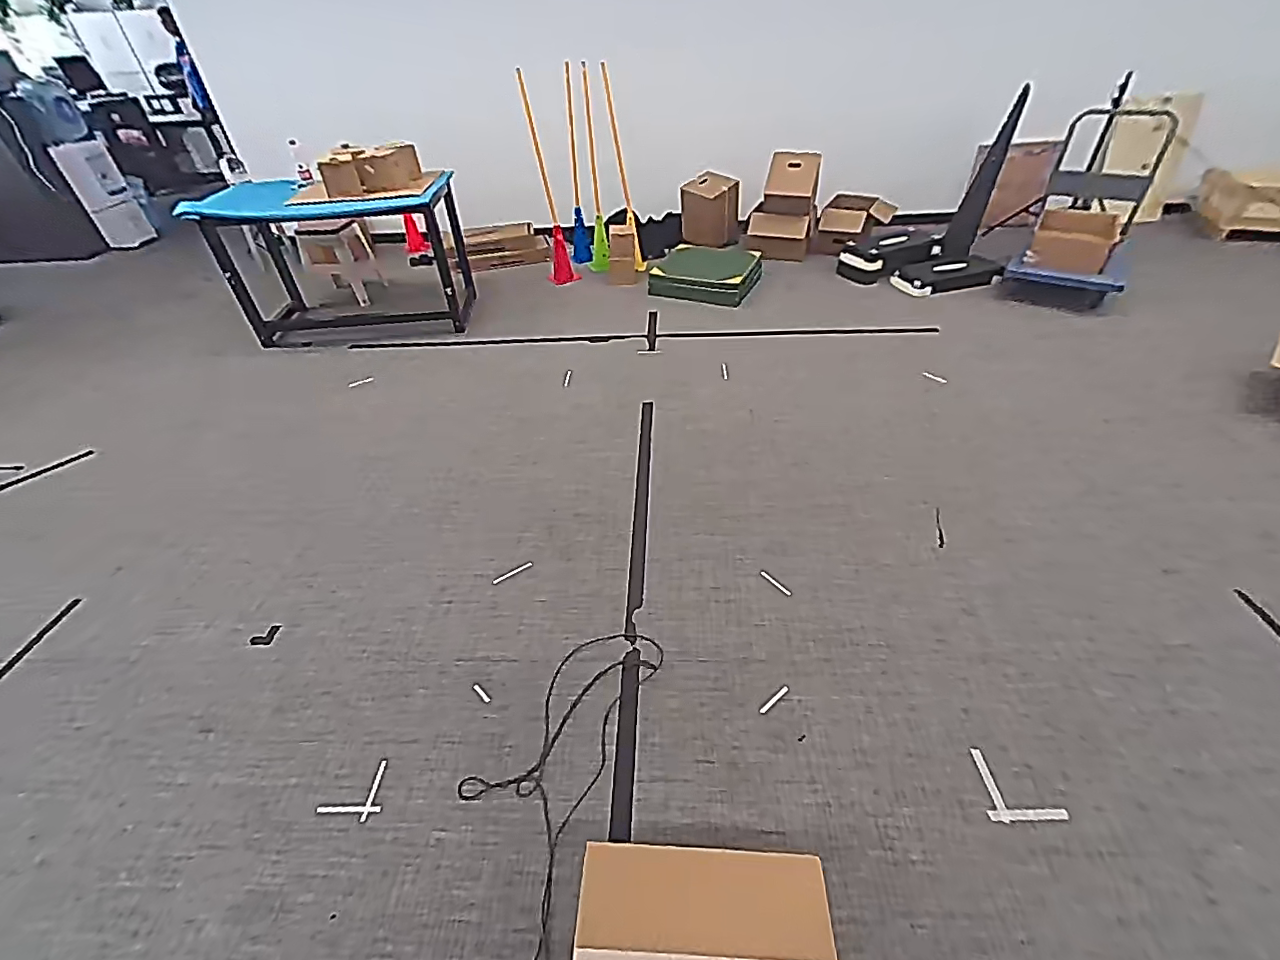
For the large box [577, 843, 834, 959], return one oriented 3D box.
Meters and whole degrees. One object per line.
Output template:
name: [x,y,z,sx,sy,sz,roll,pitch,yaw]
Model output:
large box: [0.103,0.854,0.920,0.408,0.320,0.320,1,41,4]
